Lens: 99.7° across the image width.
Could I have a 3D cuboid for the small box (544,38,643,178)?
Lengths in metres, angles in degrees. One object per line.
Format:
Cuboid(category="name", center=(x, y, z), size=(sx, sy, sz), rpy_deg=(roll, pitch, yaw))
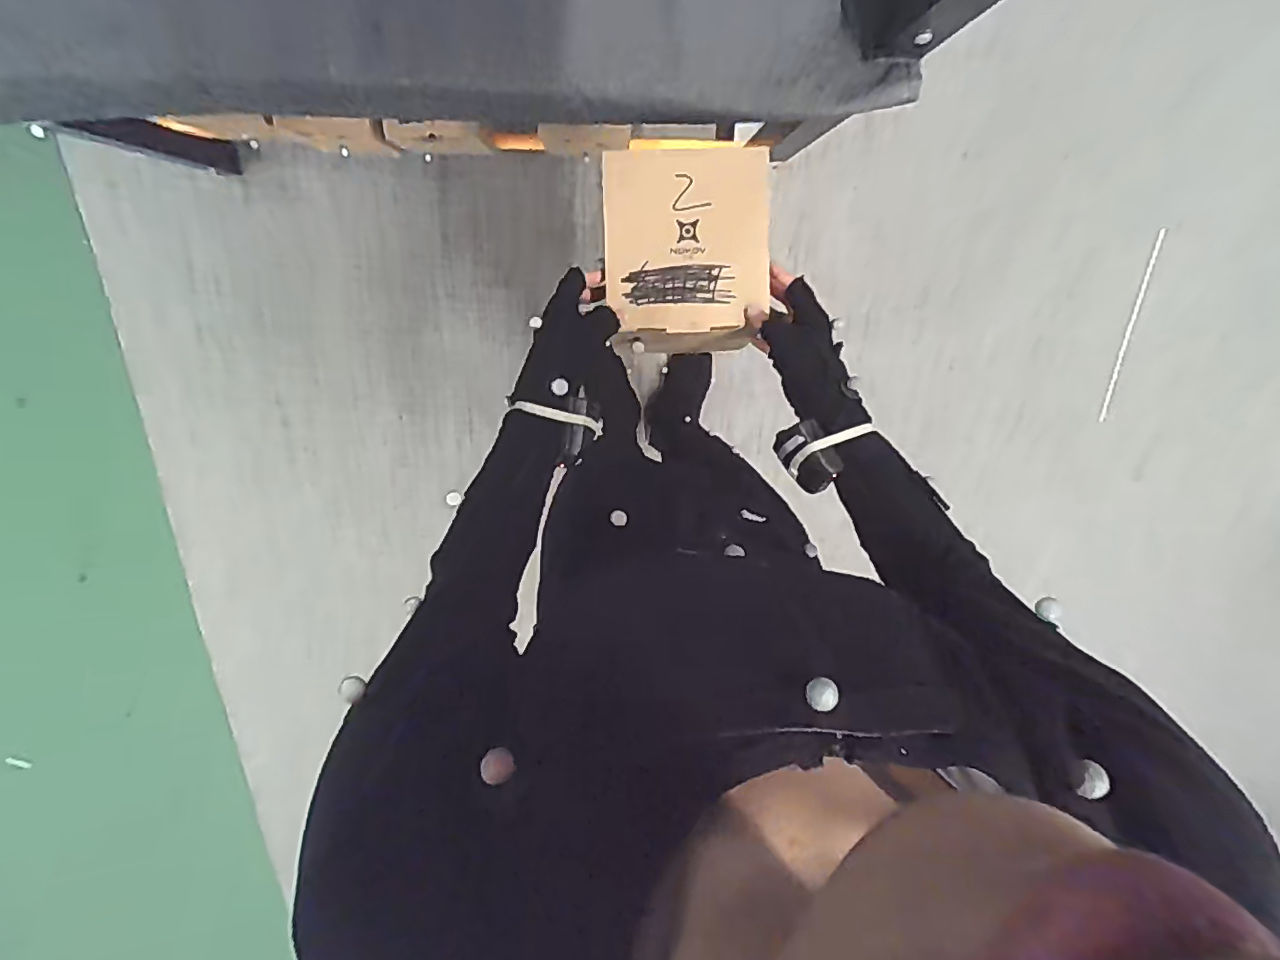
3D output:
Cuboid(category="small box", center=(-0.088, -0.698, 1.034), size=(0.168, 0.176, 0.179), rpy_deg=(5, 111, -3))
